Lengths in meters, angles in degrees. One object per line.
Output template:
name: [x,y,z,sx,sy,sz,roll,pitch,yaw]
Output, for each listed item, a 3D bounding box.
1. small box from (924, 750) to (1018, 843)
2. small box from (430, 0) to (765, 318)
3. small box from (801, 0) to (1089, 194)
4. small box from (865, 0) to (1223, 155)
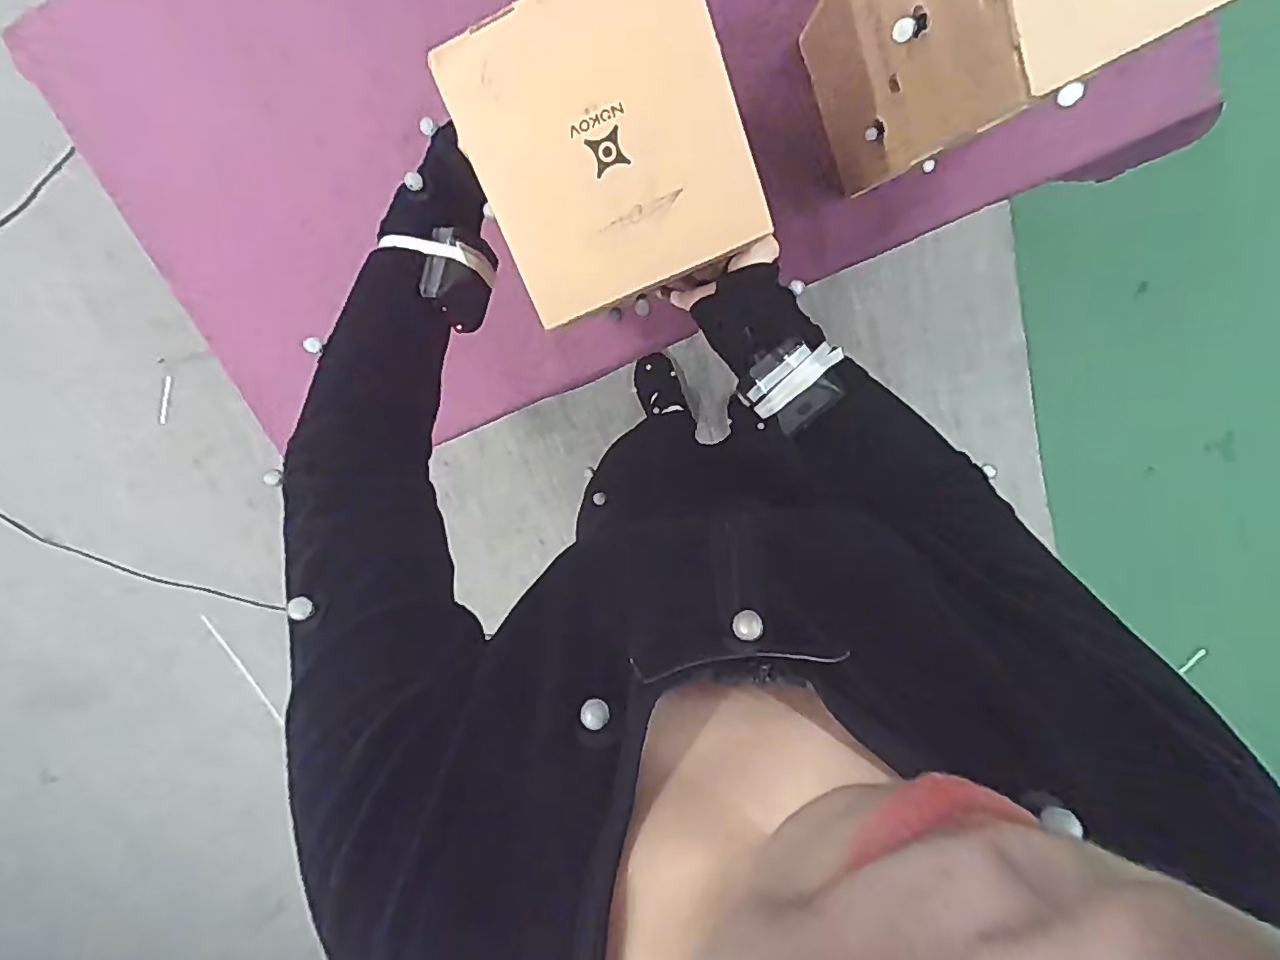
small box: [1.047,1.002,1.724,0.179,0.176,0.168,-30,105,12]
small box: [-0.021,-0.234,0.414,0.168,0.176,0.179,-19,105,9]
small box: [0.275,-0.411,0.522,0.168,0.176,0.179,-24,107,9]
small box: [0.272,-0.357,0.367,0.179,0.176,0.168,-24,107,10]
